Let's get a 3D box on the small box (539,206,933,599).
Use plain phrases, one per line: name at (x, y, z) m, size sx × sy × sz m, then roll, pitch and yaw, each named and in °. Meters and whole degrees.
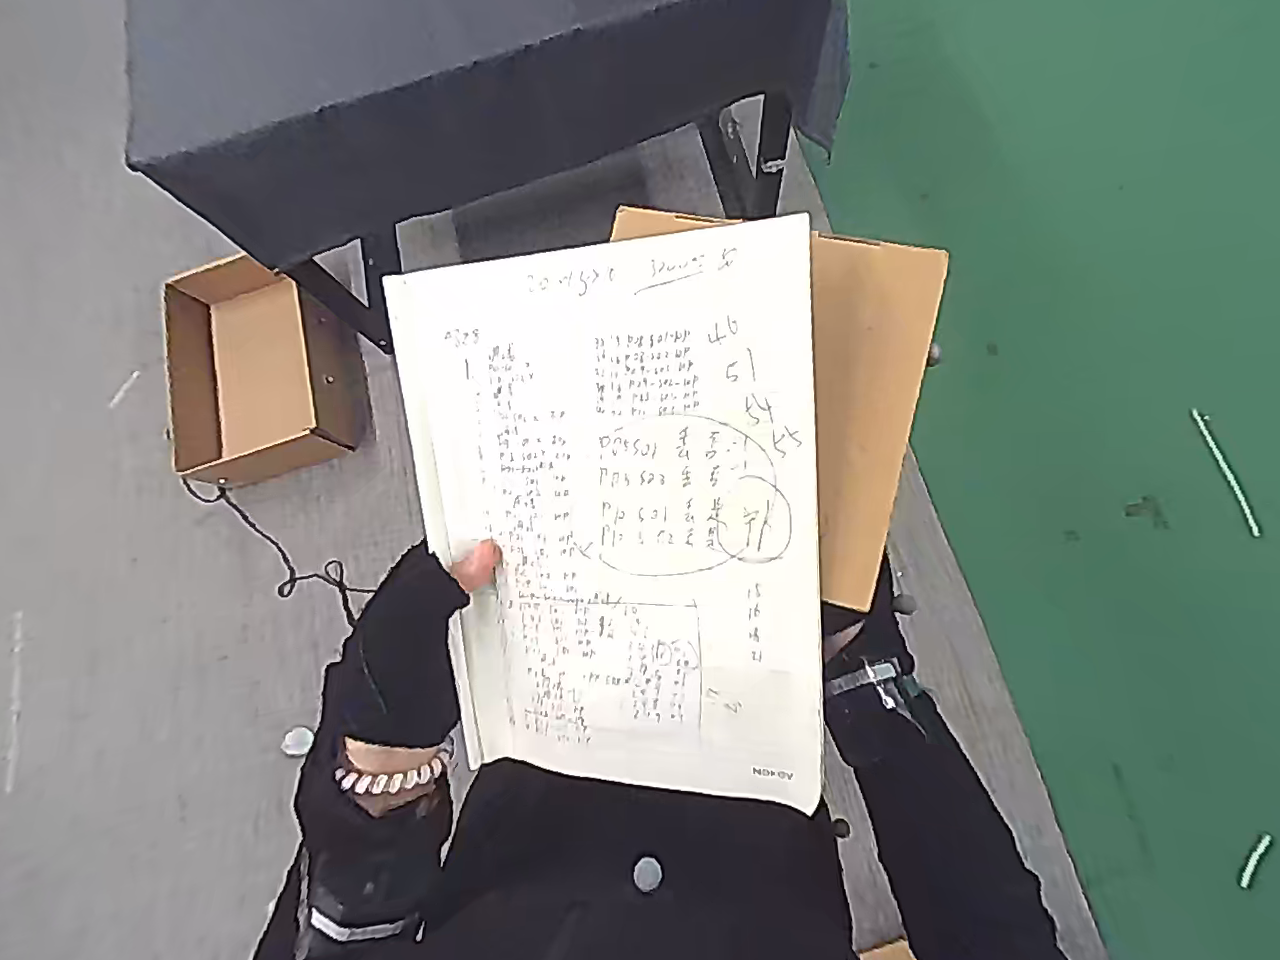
small box at (0.058, -0.039, 0.348) m, size 0.168 × 0.176 × 0.179 m, roll 13°, pitch 87°, yaw 11°
